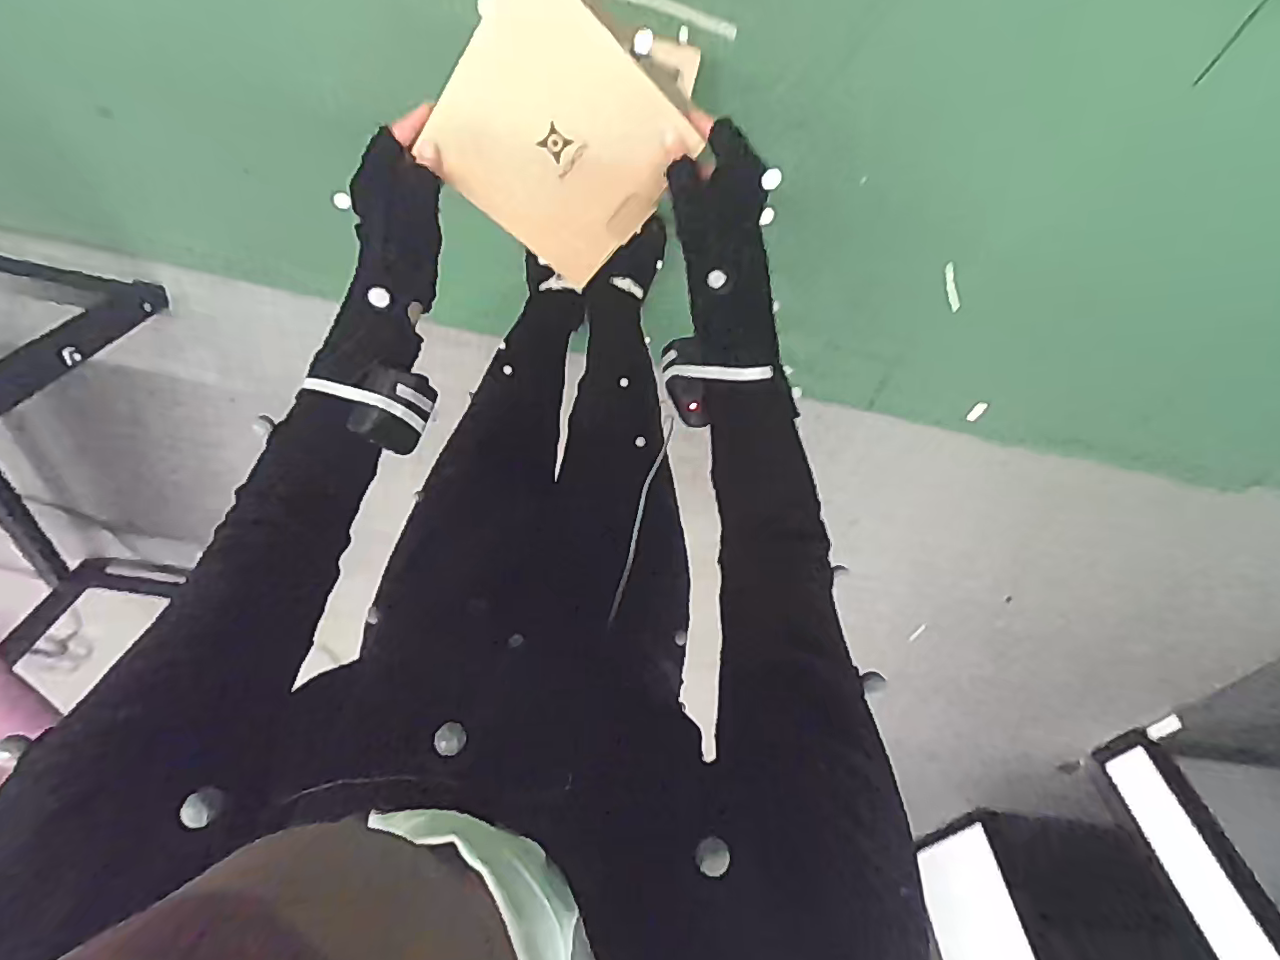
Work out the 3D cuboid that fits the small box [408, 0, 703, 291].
[{"bbox_3d":[-0.068,-0.315,0.486,0.179,0.176,0.168,33,124,-29],"label":"small box"}]
